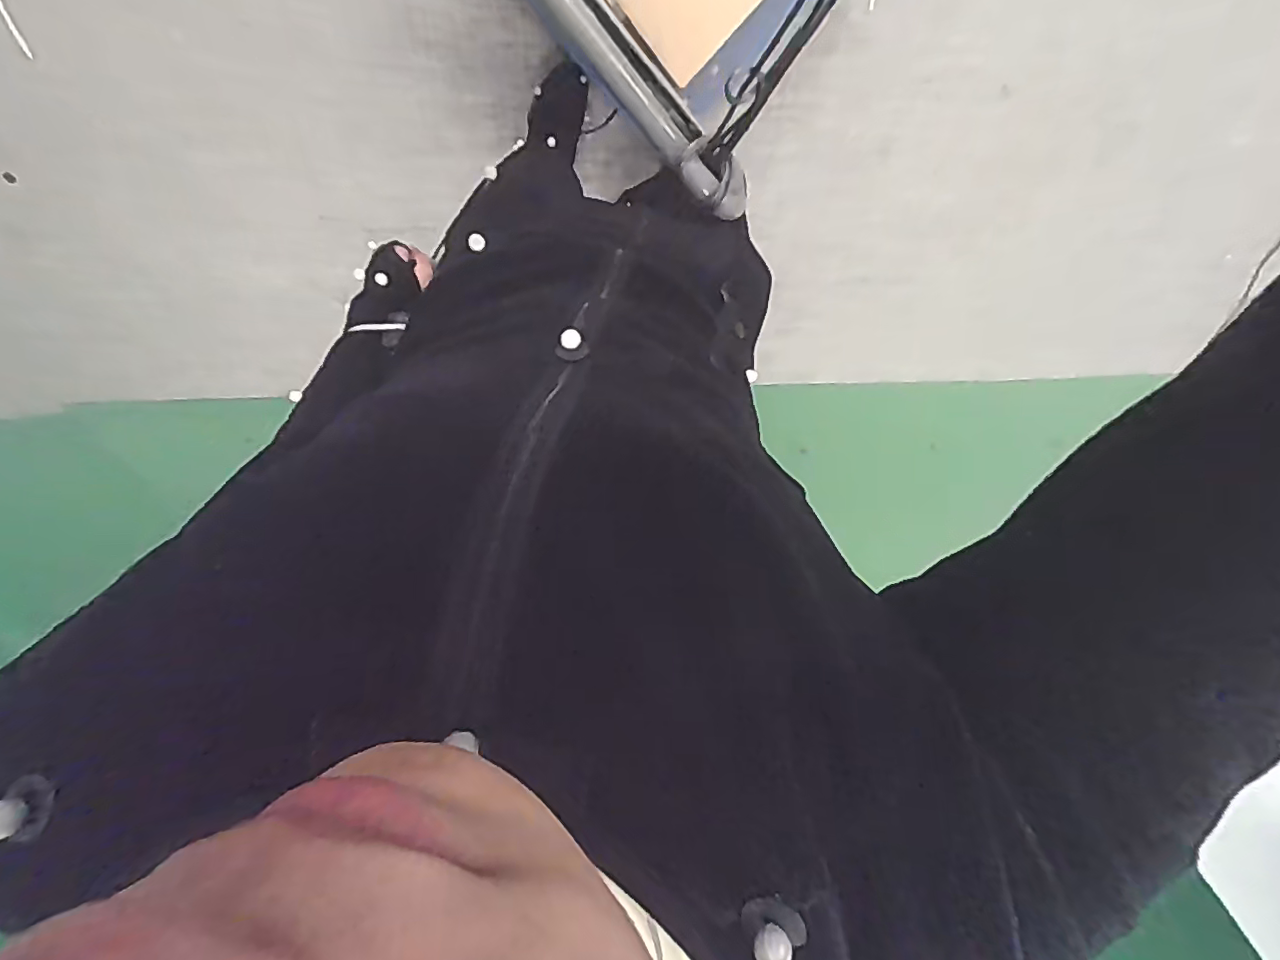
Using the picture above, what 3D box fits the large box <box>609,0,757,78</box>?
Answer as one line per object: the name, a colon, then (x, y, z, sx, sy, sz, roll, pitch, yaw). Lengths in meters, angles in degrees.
large box: (0.090, -0.888, 0.773, 0.408, 0.320, 0.320, -38, 125, 24)
